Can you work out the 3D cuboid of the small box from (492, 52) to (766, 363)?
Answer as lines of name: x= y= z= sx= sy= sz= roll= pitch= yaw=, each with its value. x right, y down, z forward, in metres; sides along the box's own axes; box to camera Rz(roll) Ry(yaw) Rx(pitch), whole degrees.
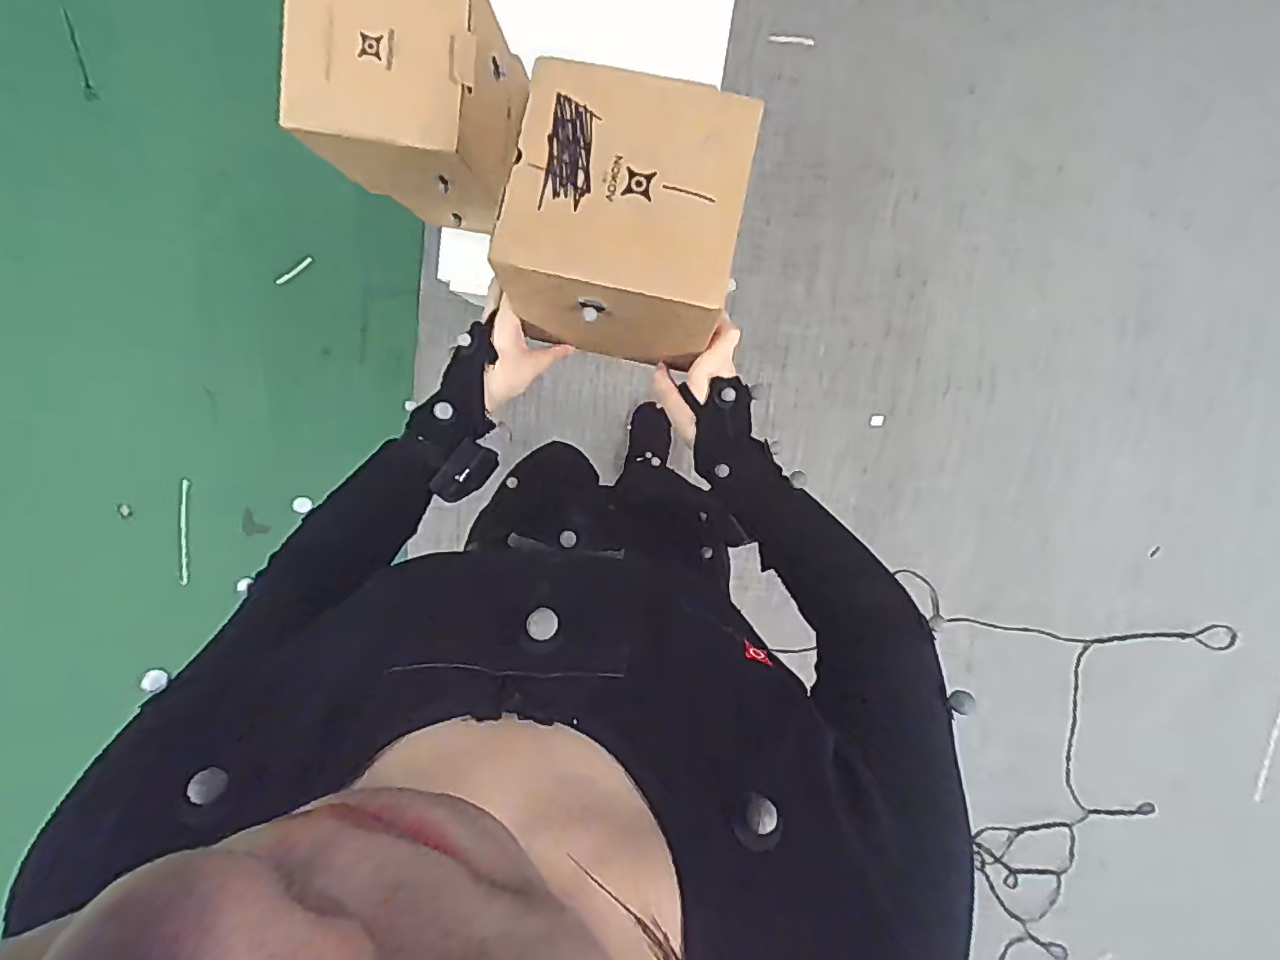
small box: x=-0.008 y=-0.216 z=0.477 sx=0.179 sy=0.176 sz=0.168 roll=12 pitch=85 yaw=-1

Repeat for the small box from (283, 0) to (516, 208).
small box: x=-0.242 y=-0.413 z=0.583 sx=0.179 sy=0.176 sz=0.168 roll=8 pitch=98 yaw=1

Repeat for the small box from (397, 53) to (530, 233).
small box: x=-0.237 y=-0.453 z=0.741 sx=0.168 sy=0.176 sz=0.179 roll=9 pitch=99 yaw=-1
